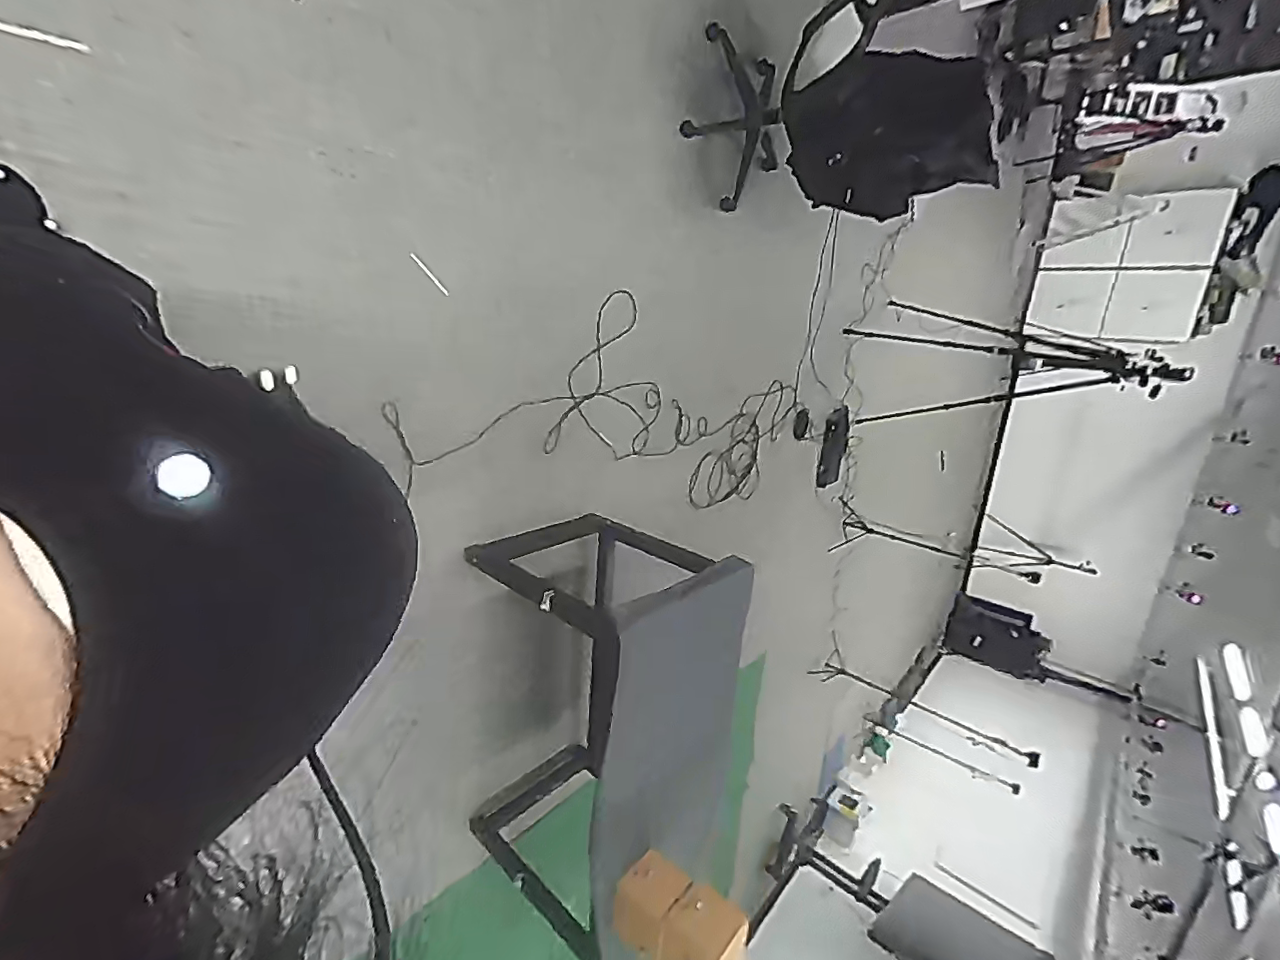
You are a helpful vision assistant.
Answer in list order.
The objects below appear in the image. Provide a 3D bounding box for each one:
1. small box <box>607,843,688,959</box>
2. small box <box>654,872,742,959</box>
[{"bbox_3d":[0.022,1.217,1.571,0.168,0.176,0.179,-8,108,-51],"label":"small box"},{"bbox_3d":[0.156,1.238,1.477,0.168,0.176,0.179,-9,109,-50],"label":"small box"}]
